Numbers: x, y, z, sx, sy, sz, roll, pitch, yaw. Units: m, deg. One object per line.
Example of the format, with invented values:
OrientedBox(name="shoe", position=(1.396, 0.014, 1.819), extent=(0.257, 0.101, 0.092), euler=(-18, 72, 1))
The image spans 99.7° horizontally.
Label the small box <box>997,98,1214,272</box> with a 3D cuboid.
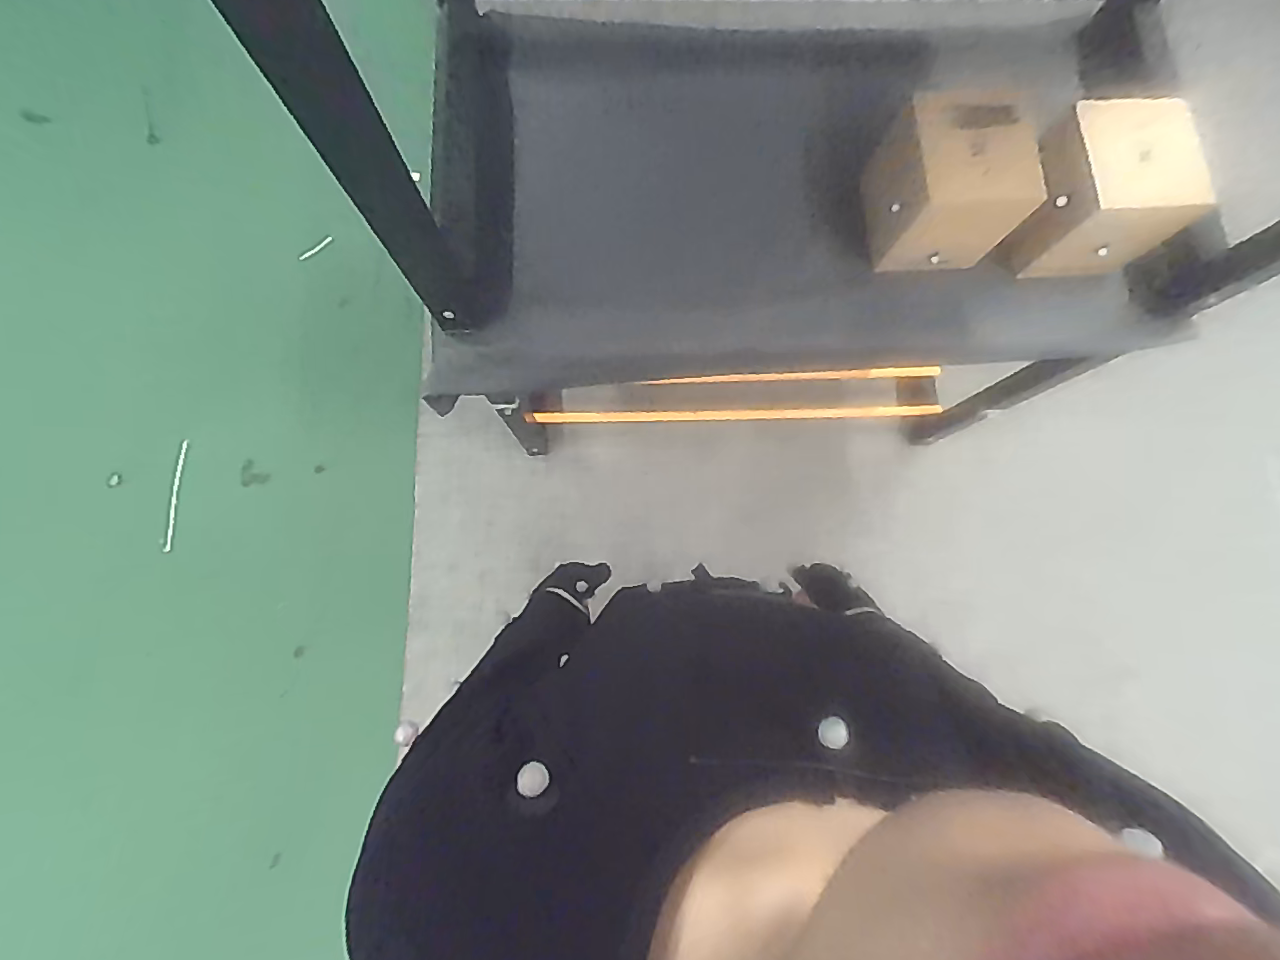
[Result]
OrientedBox(name="small box", position=(0.688, -0.435, 0.823), extent=(0.168, 0.176, 0.179), euler=(-3, 77, -2))
